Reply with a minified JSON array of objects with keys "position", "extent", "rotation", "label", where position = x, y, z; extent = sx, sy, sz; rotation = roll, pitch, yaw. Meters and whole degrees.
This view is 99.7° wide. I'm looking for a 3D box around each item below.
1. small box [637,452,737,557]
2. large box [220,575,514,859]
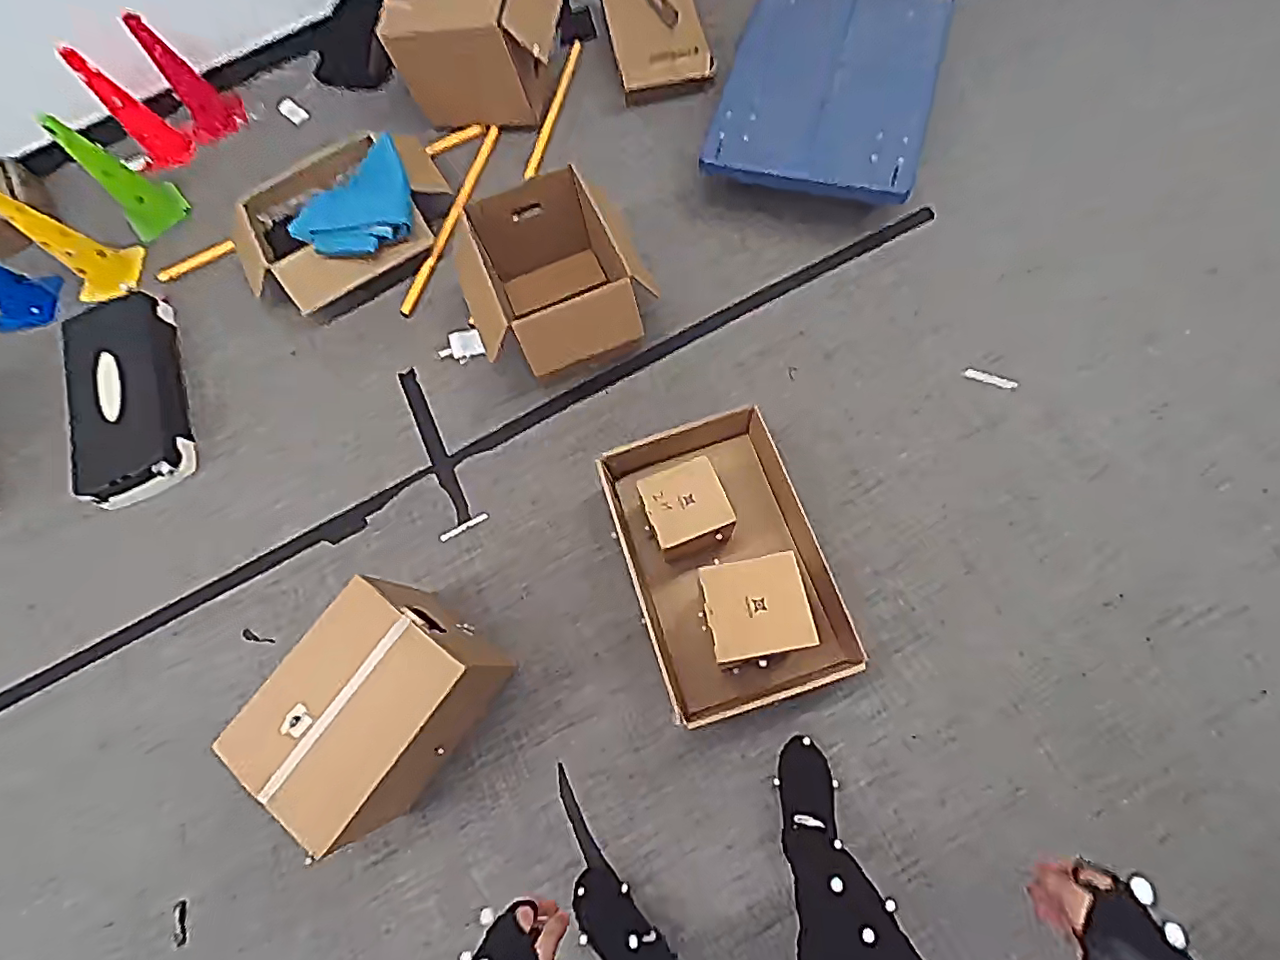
[{"position":[0.105,0.062,1.242],"extent":[0.179,0.176,0.168],"rotation":[-21,71,-2],"label":"small box"},{"position":[-0.544,0.469,1.158],"extent":[0.320,0.320,0.408],"rotation":[33,79,16],"label":"large box"}]
